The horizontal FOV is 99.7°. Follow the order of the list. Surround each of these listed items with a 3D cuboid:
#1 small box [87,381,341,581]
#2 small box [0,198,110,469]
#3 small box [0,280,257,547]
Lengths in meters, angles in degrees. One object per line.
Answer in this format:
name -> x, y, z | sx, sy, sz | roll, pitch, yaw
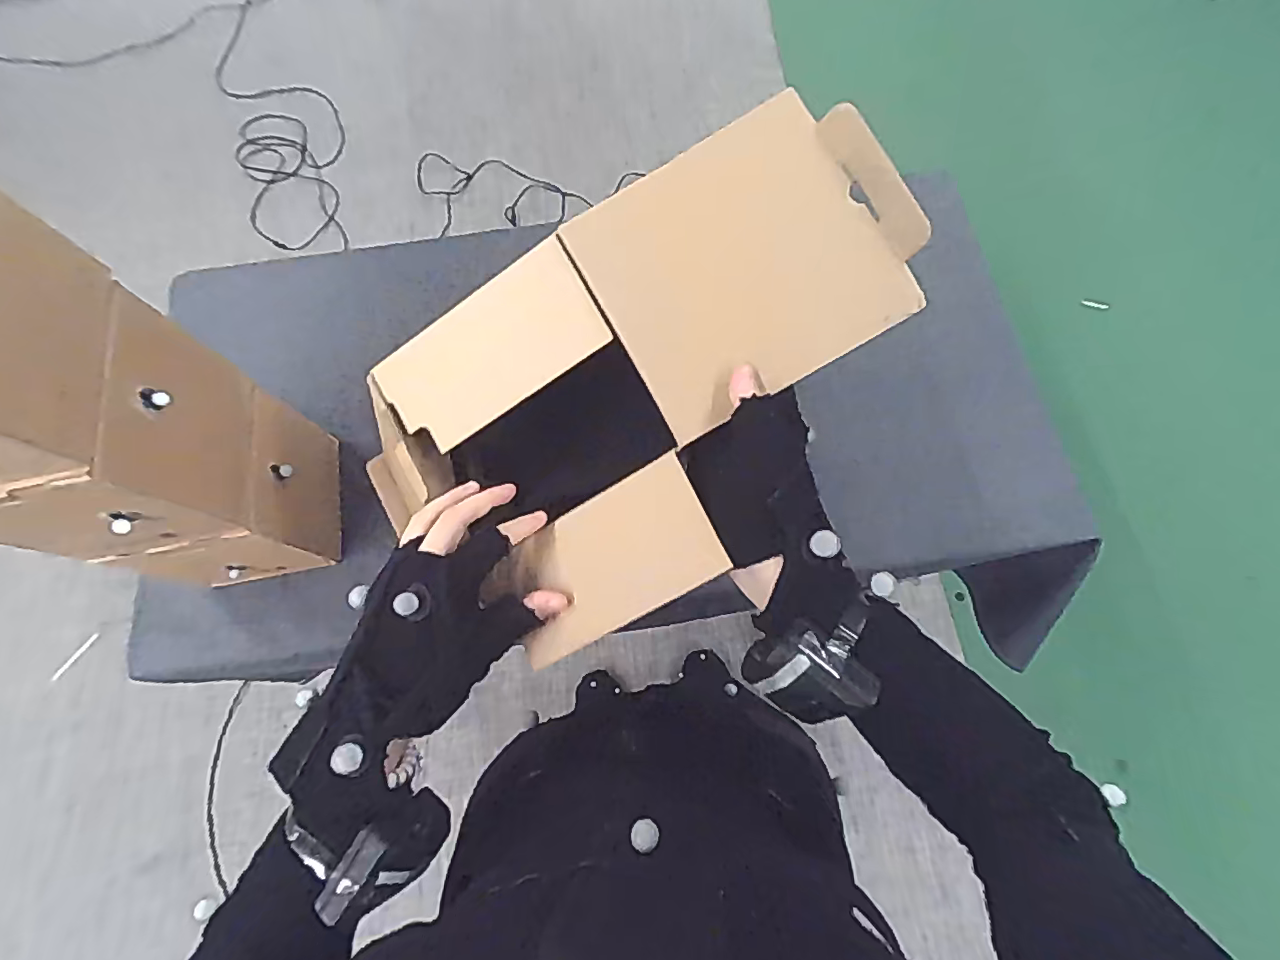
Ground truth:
small box -> -0.480, 0.010, 0.640 | 0.168, 0.176, 0.179 | -11, 72, -2
small box -> -0.489, -0.103, 0.334 | 0.168, 0.176, 0.179 | -11, 71, -4
small box -> -0.484, -0.044, 0.487 | 0.168, 0.176, 0.179 | -10, 71, -3
